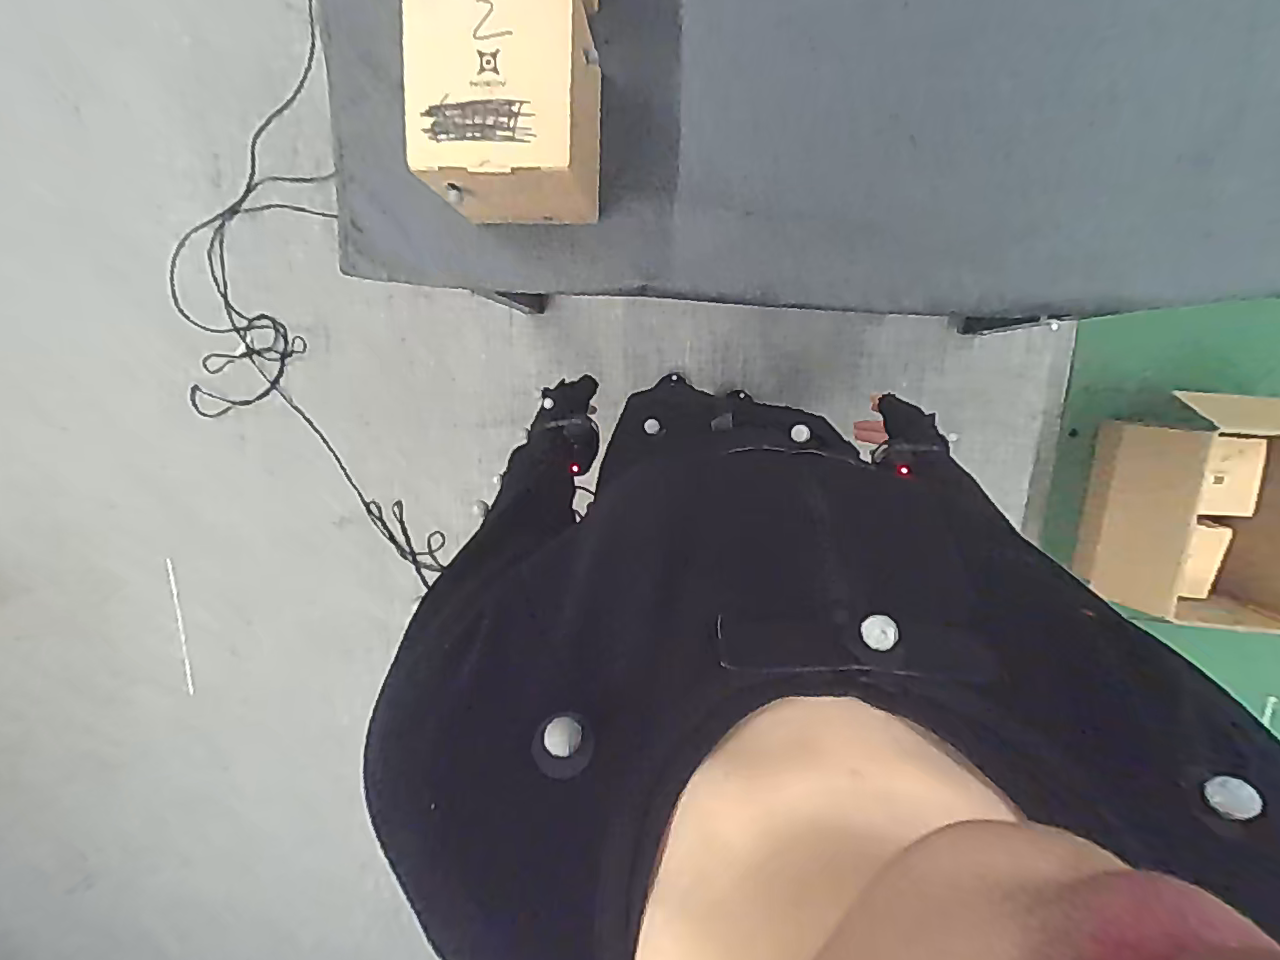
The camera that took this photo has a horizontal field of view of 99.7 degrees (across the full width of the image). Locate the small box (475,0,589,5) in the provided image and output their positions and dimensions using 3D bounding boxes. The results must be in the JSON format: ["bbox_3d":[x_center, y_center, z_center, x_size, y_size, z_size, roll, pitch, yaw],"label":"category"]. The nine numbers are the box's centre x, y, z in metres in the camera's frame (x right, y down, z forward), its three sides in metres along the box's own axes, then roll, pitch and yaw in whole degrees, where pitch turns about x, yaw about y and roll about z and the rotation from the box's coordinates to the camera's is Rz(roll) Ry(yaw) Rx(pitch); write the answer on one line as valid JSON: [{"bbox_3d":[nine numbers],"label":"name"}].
[{"bbox_3d":[-0.137,-0.632,0.553,0.168,0.176,0.179,2,100,4],"label":"small box"}]
